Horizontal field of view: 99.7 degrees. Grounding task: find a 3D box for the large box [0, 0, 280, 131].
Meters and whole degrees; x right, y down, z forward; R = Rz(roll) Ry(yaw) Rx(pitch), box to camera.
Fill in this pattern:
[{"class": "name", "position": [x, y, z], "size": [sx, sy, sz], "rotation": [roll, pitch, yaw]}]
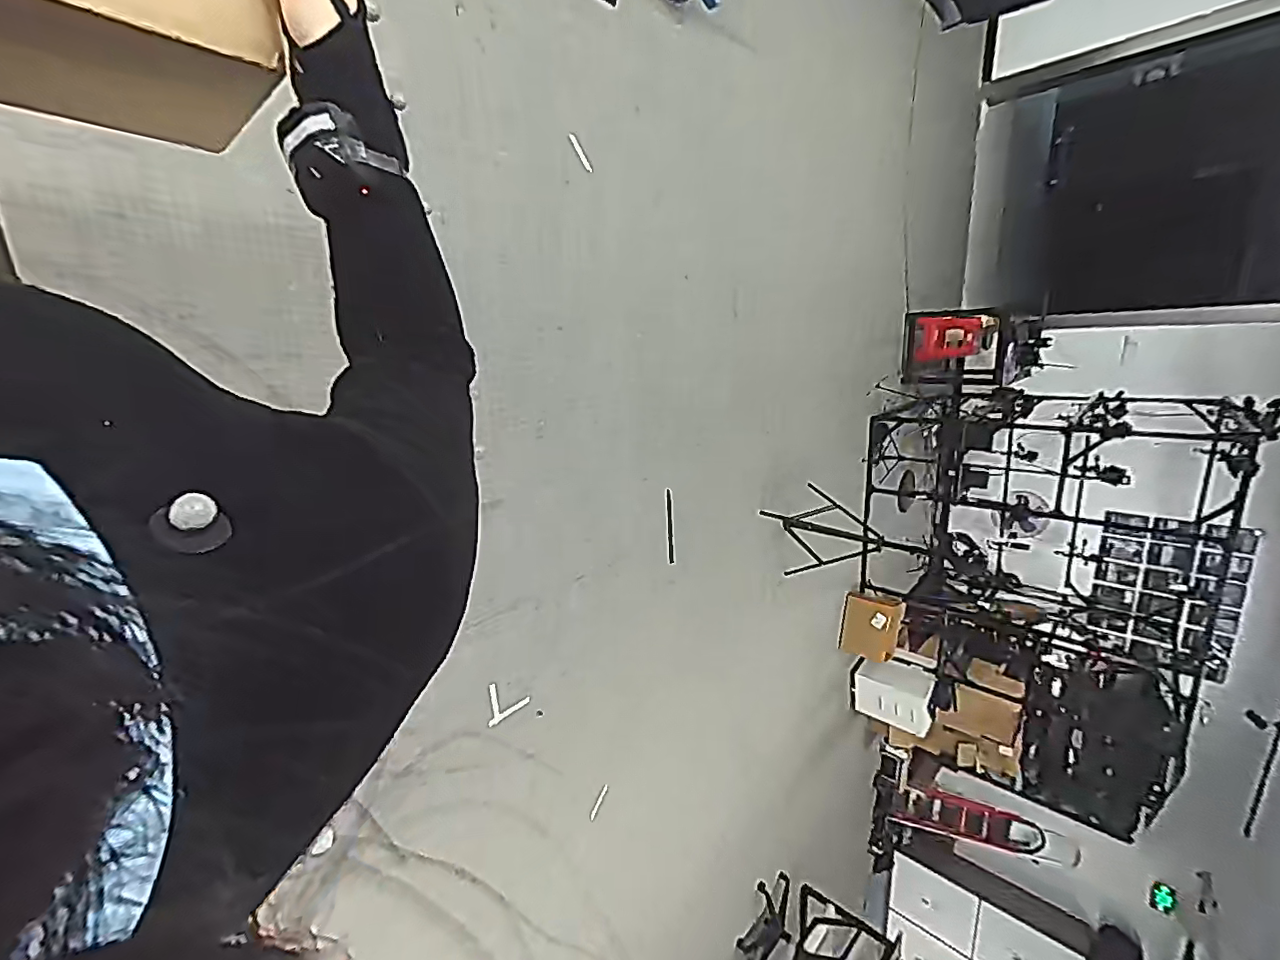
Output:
[{"class": "large box", "position": [-0.515, -0.479, 0.350], "size": [0.408, 0.320, 0.320], "rotation": [-10, 109, -42]}]
